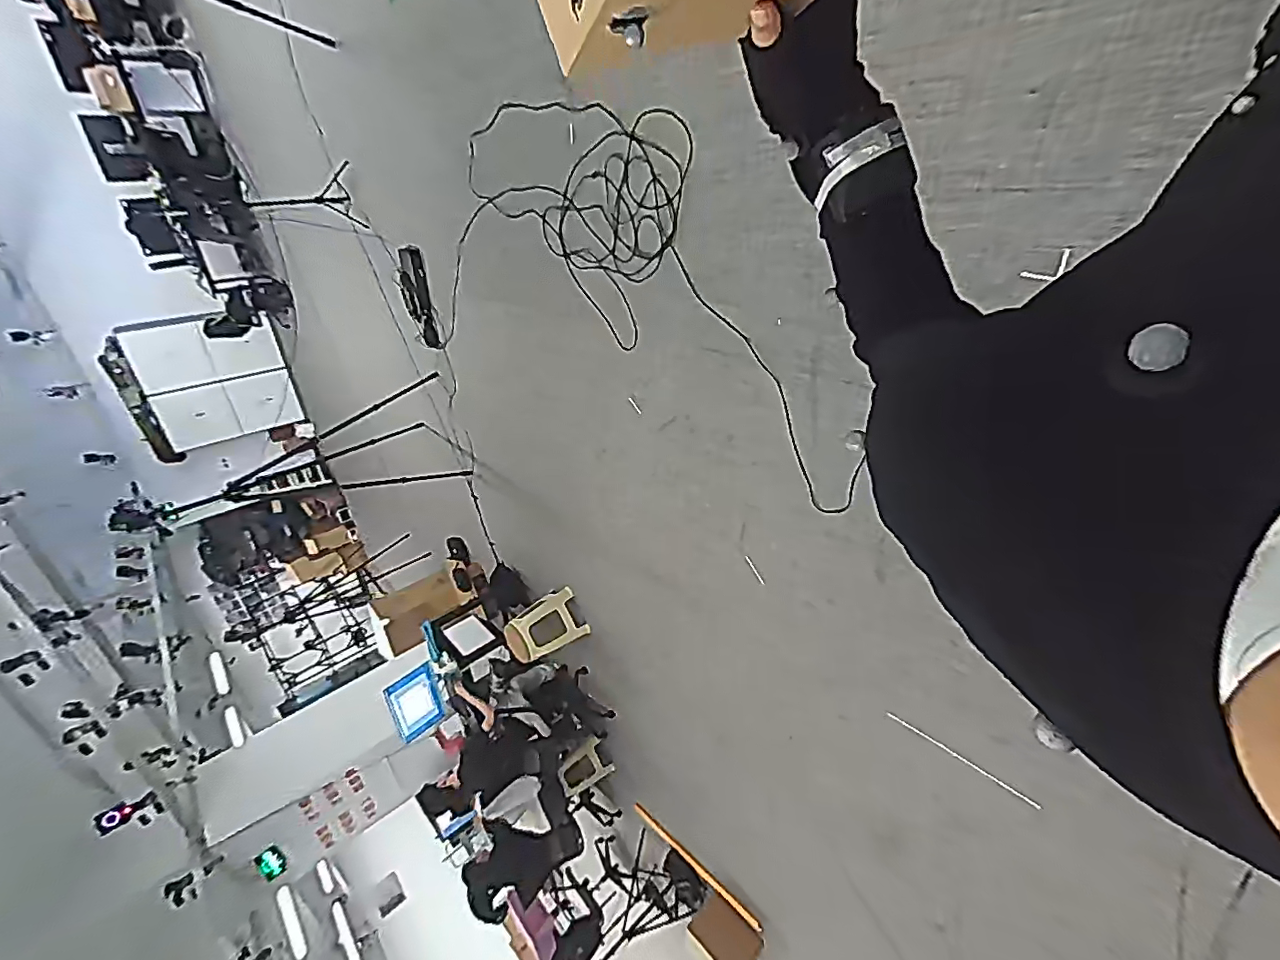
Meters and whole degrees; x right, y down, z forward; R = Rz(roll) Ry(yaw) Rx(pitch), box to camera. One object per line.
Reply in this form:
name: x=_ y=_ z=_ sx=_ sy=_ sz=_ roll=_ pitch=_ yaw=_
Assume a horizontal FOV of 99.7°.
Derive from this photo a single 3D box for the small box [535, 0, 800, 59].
small box: x=0.028 y=-0.348 z=0.258 sx=0.168 sy=0.176 sz=0.179 roll=33 pitch=143 yaw=64
